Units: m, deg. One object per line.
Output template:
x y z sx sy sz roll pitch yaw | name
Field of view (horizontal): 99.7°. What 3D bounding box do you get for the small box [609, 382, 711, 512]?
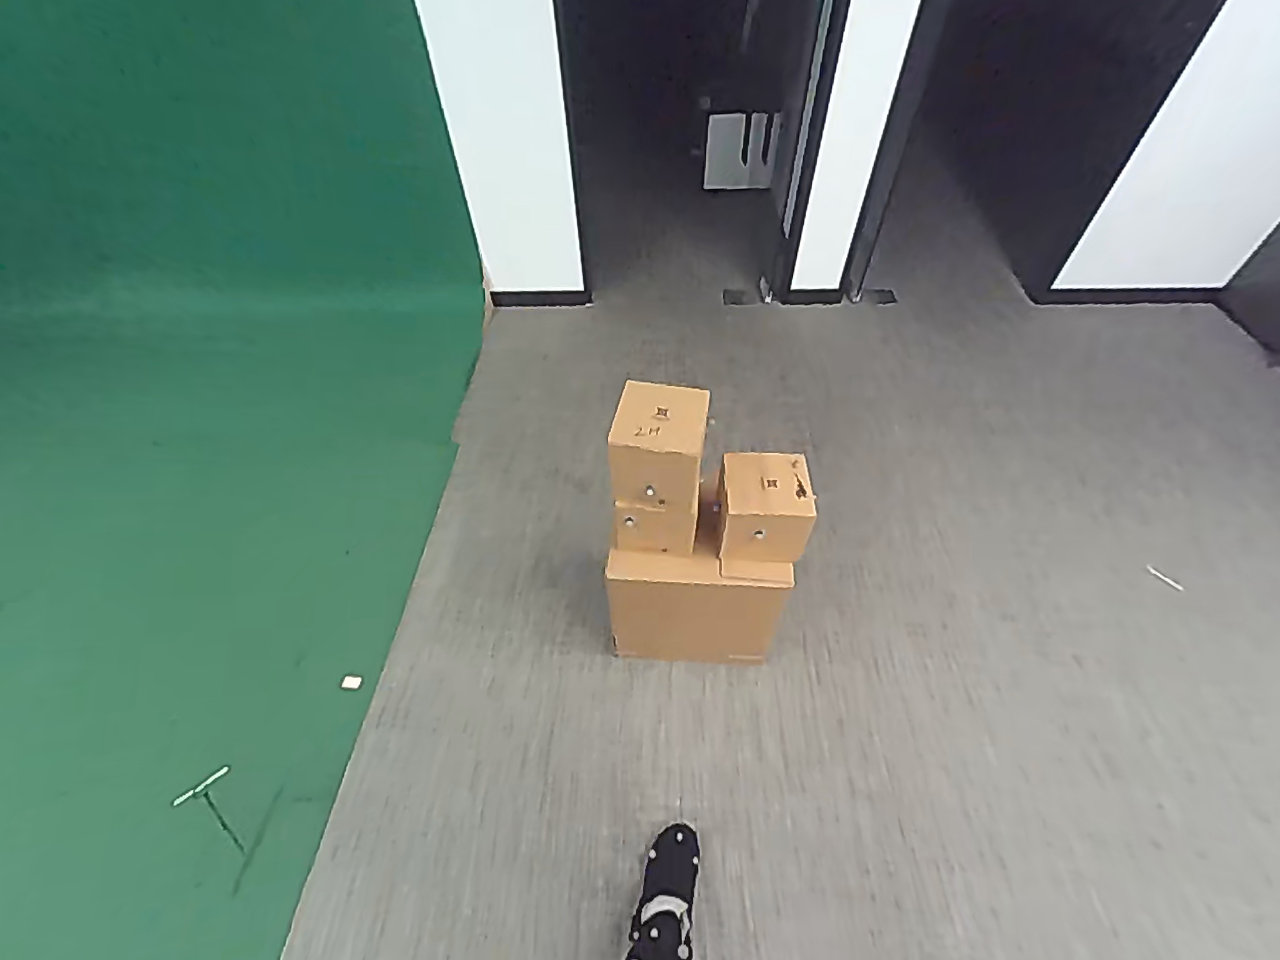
0.040 -0.064 1.058 0.168 0.176 0.179 8 51 8 | small box
